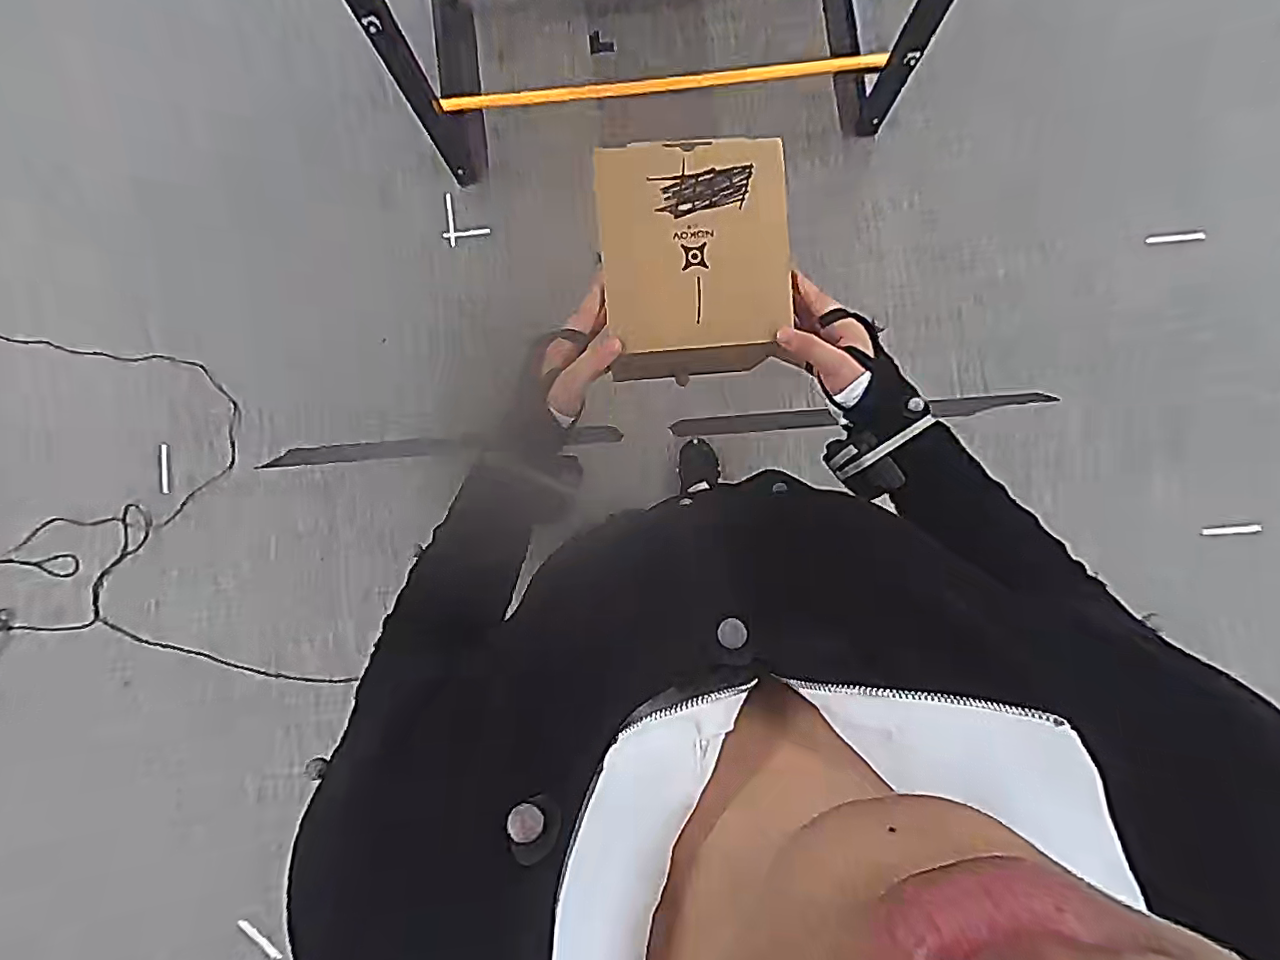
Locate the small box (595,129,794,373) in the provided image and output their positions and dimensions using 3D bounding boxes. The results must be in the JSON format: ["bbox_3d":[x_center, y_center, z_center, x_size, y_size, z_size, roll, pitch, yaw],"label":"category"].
[{"bbox_3d":[0.044,-0.214,0.547,0.168,0.176,0.179,-5,93,-1],"label":"small box"}]
